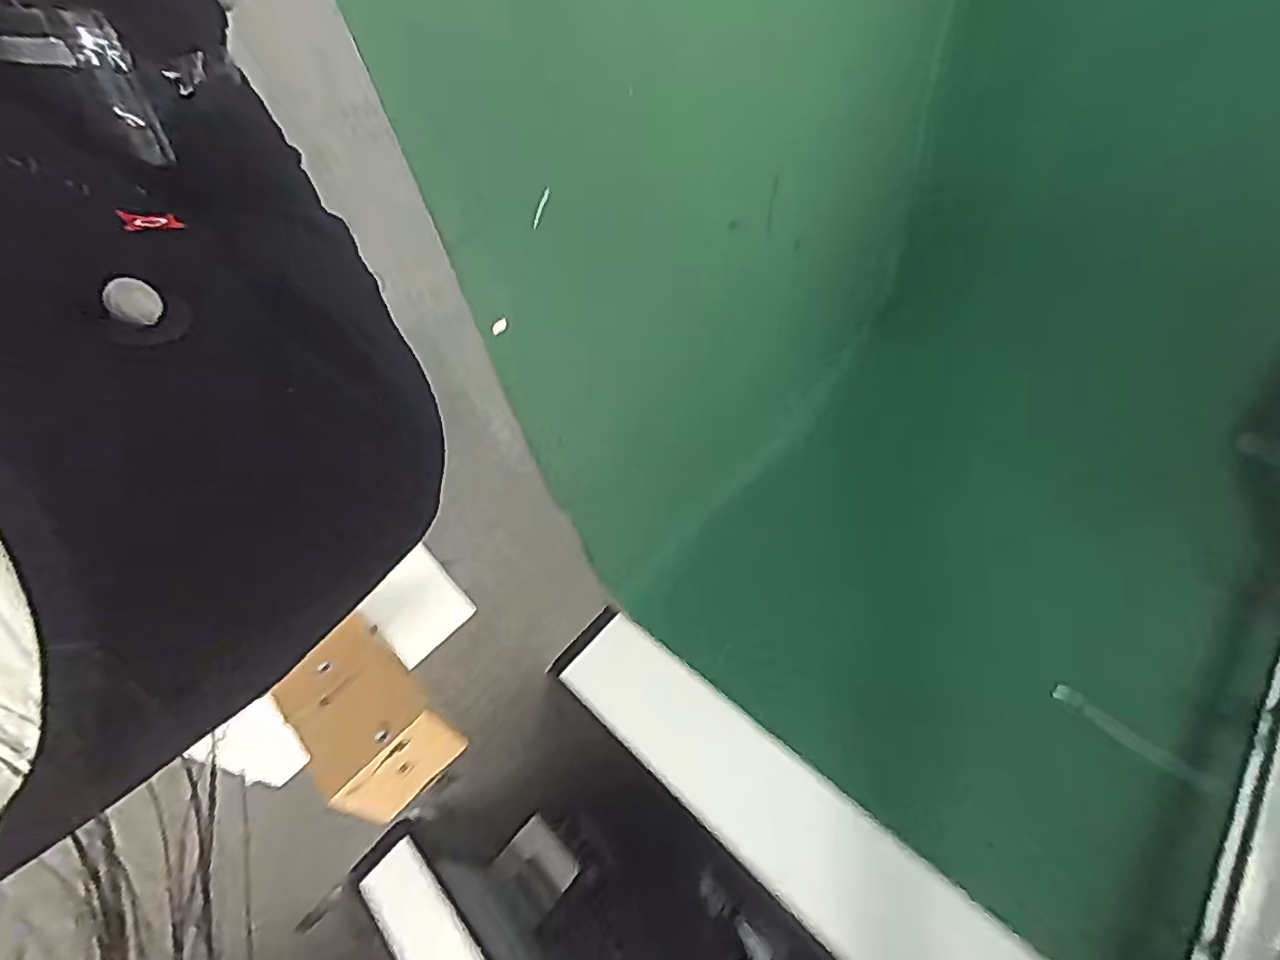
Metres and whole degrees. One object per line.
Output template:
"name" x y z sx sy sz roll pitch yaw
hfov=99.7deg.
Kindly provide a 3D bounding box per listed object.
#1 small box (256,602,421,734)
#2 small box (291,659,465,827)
"small box" -0.547 0.358 0.988 0.179 0.176 0.168 -42 143 -23
"small box" -0.432 0.432 0.902 0.168 0.176 0.179 -42 143 -21
